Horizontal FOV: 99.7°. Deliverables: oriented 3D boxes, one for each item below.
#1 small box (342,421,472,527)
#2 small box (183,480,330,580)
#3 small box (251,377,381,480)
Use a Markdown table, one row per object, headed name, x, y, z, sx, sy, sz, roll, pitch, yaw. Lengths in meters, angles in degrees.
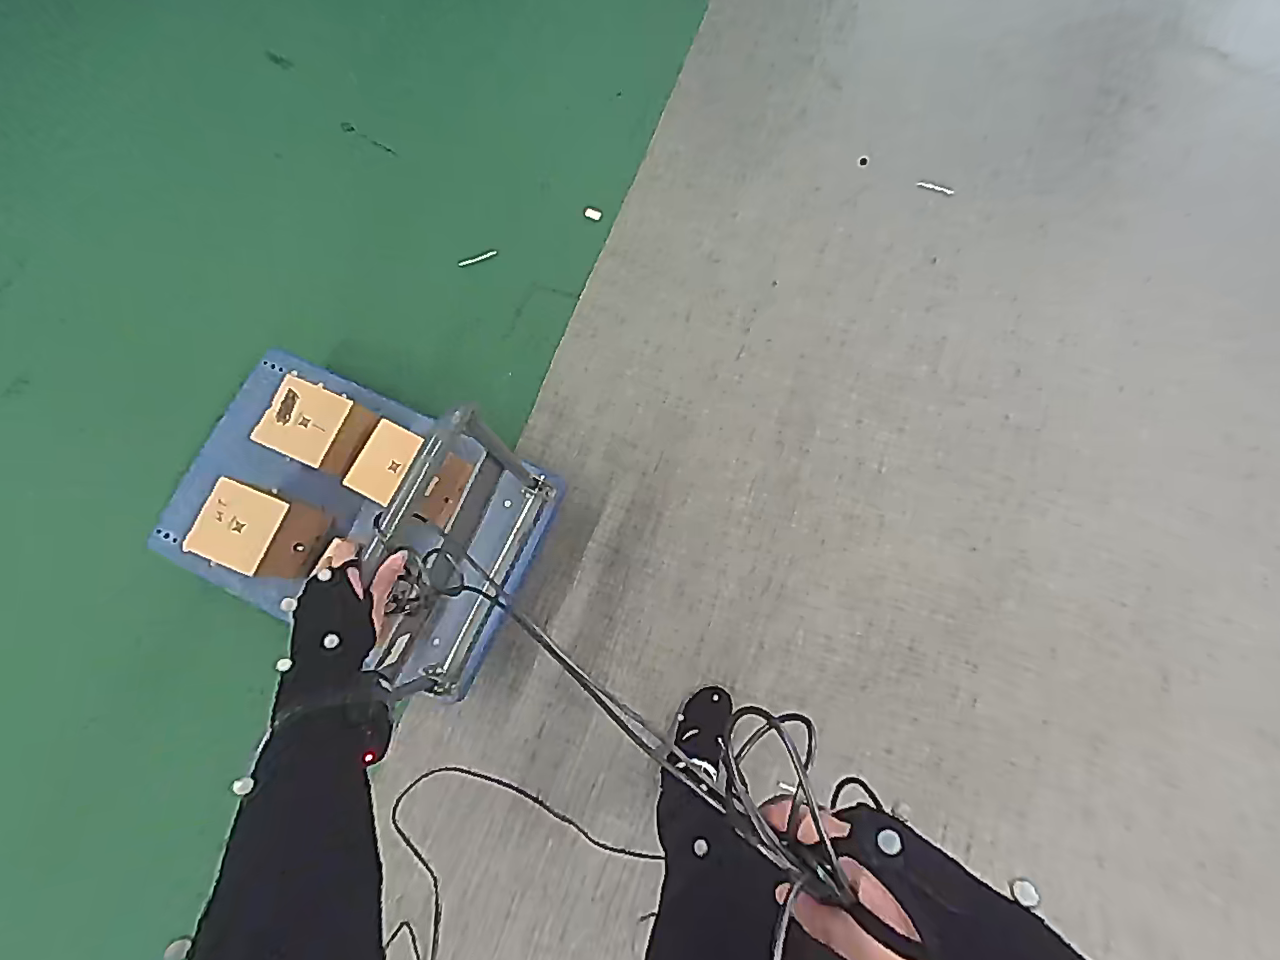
| name | x | y | z | sx | sy | sz | roll | pitch | yaw |
| --- | --- | --- | --- | --- | --- | --- | --- | --- | --- |
| small box | -0.519 | -0.004 | 1.229 | 0.179 | 0.176 | 0.168 | 27 | 81 | 7 |
| small box | -0.847 | 0.118 | 1.216 | 0.179 | 0.176 | 0.168 | 21 | 79 | 7 |
| small box | -0.735 | -0.108 | 1.259 | 0.179 | 0.176 | 0.168 | 24 | 81 | 6 |
